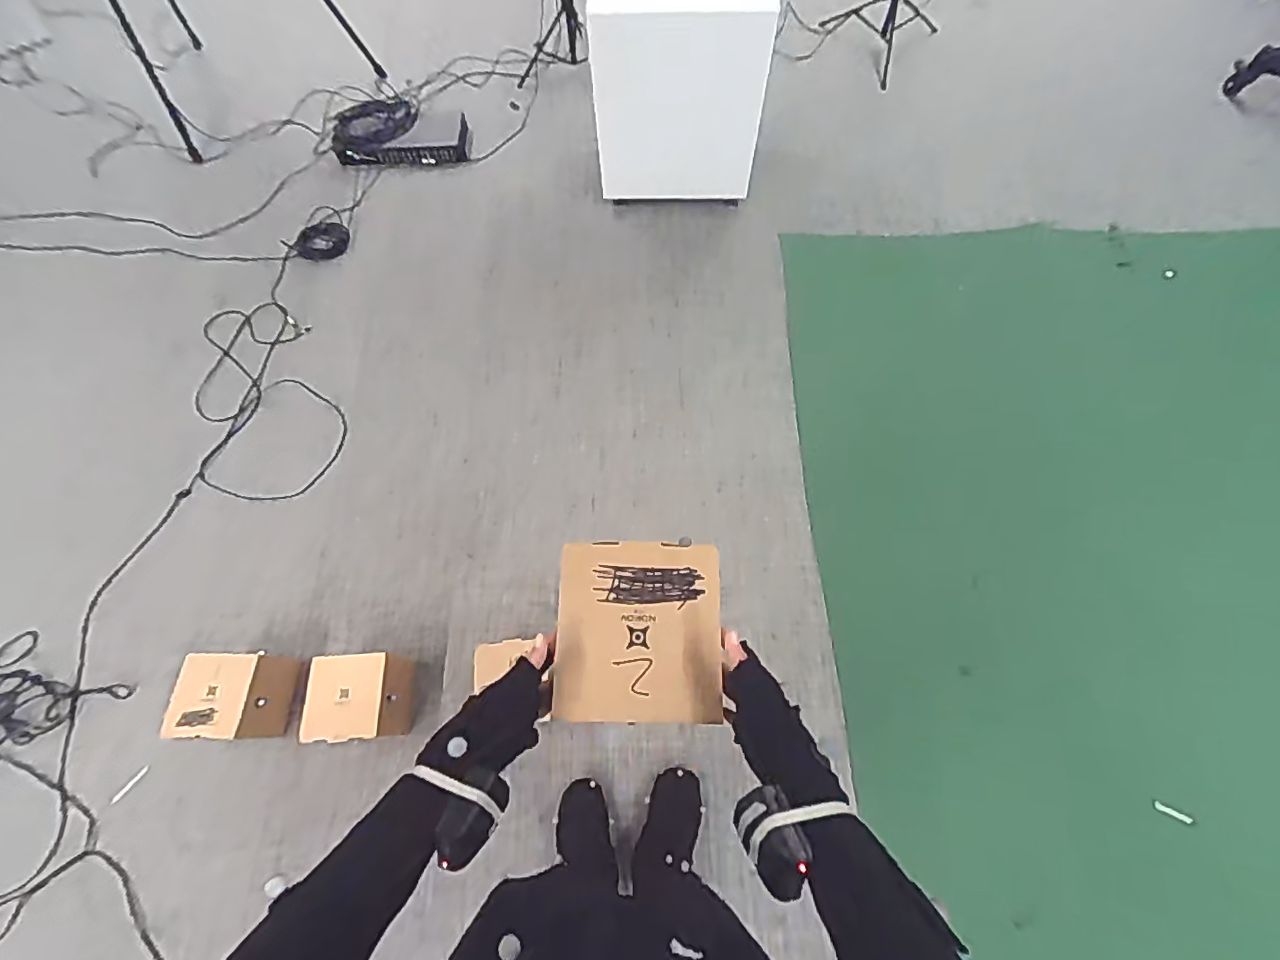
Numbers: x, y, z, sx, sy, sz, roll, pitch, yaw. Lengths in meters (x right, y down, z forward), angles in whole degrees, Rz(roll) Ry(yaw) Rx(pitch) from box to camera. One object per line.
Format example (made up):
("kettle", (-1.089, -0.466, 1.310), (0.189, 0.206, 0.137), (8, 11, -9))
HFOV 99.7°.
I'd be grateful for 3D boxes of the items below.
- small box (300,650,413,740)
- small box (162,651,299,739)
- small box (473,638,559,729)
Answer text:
("small box", (-0.639, 0.497, 1.246), (0.168, 0.176, 0.179), (-4, 67, -1))
("small box", (-0.930, 0.497, 1.249), (0.168, 0.176, 0.179), (1, 65, 1))
("small box", (-0.280, 0.470, 1.251), (0.168, 0.176, 0.179), (-5, 67, -2))
